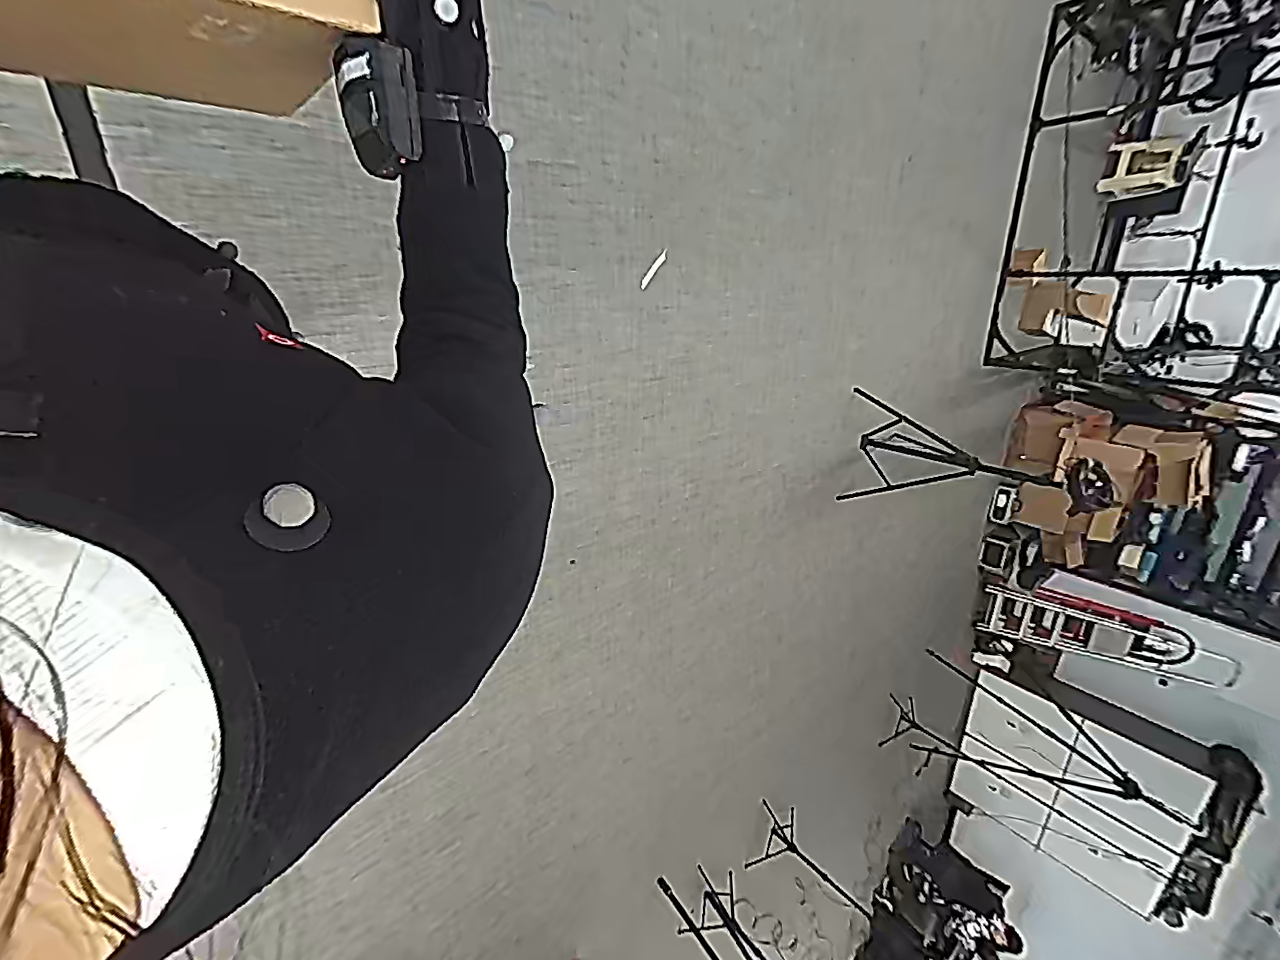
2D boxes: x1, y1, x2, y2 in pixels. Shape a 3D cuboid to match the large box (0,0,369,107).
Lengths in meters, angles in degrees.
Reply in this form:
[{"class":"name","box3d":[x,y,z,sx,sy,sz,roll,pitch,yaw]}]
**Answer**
[{"class":"large box","box3d":[-0.405,-0.410,0.252,0.408,0.320,0.320,-16,120,-37]}]
